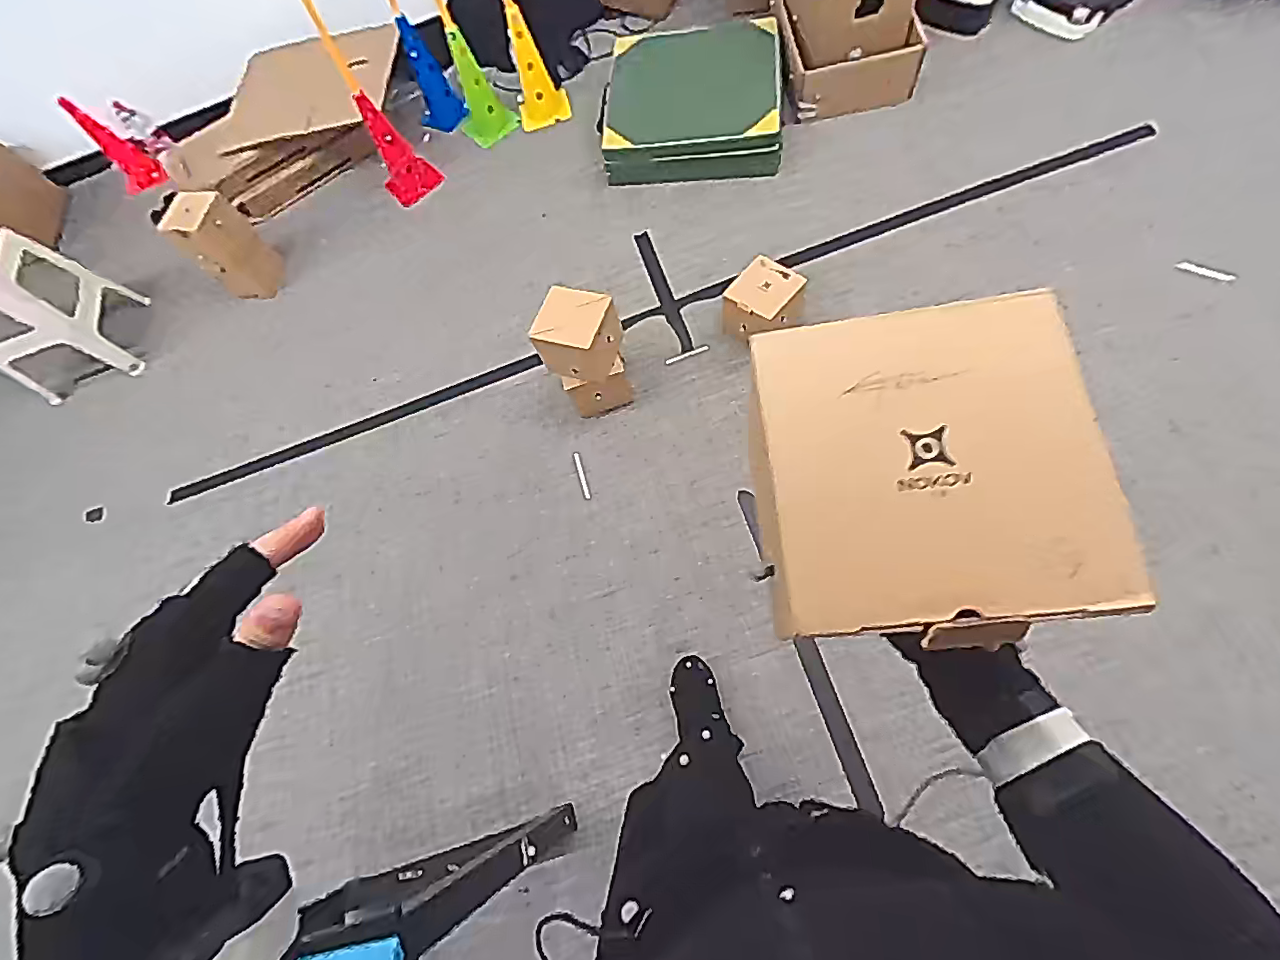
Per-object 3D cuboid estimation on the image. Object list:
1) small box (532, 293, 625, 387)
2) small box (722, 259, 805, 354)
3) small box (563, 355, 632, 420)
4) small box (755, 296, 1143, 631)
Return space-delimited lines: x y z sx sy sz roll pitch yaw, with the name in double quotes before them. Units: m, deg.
"small box" -0.160 -0.376 1.449 0.179 0.176 0.168 15 71 16
"small box" 0.359 -0.500 1.590 0.168 0.176 0.179 39 80 20
"small box" -0.129 -0.304 1.598 0.179 0.176 0.168 -18 66 4
"small box" 0.171 0.008 0.368 0.168 0.176 0.179 -6 73 9
